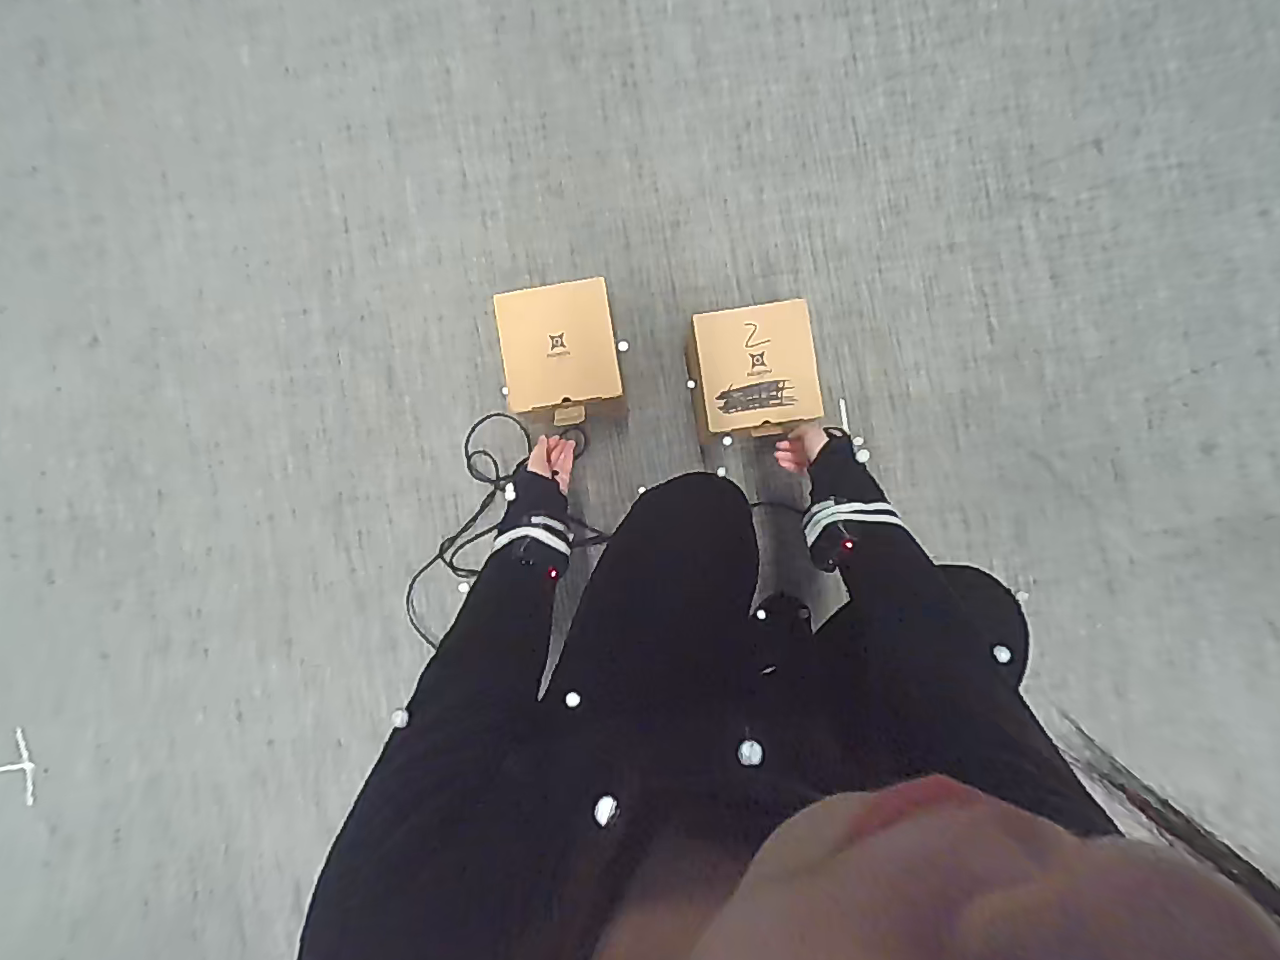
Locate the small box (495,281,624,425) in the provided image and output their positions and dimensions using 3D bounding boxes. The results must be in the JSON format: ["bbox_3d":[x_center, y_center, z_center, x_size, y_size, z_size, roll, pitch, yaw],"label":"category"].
[{"bbox_3d":[-0.120,-0.192,0.863,0.168,0.176,0.179,-9,90,1],"label":"small box"}]
